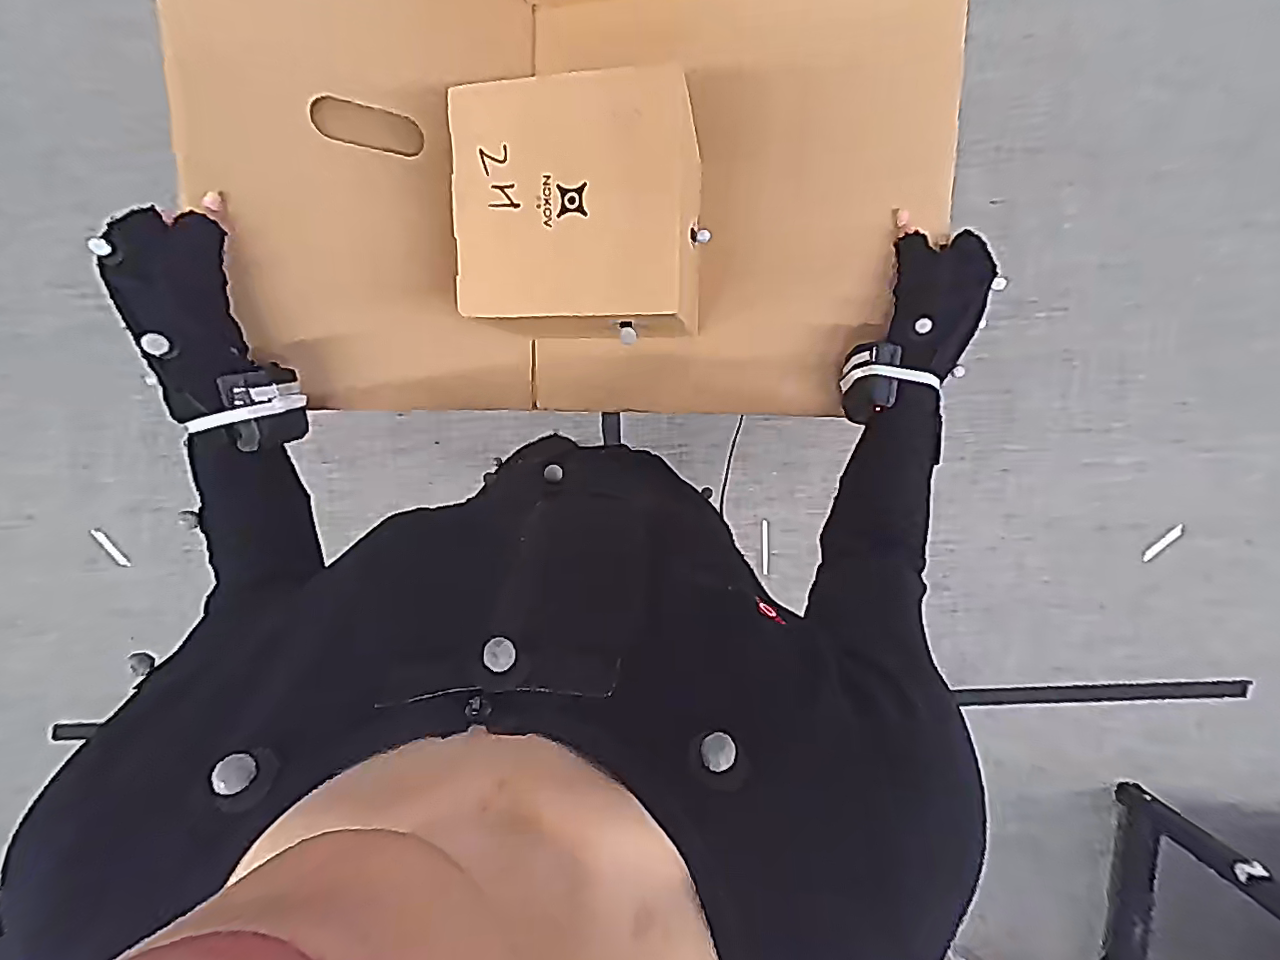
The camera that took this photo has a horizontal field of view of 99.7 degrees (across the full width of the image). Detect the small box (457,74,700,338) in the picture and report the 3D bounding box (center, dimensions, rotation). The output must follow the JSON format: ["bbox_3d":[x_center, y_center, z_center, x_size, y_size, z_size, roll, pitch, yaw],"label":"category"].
[{"bbox_3d":[-0.040,-0.221,0.483,0.179,0.176,0.168,3,99,11],"label":"small box"}]
